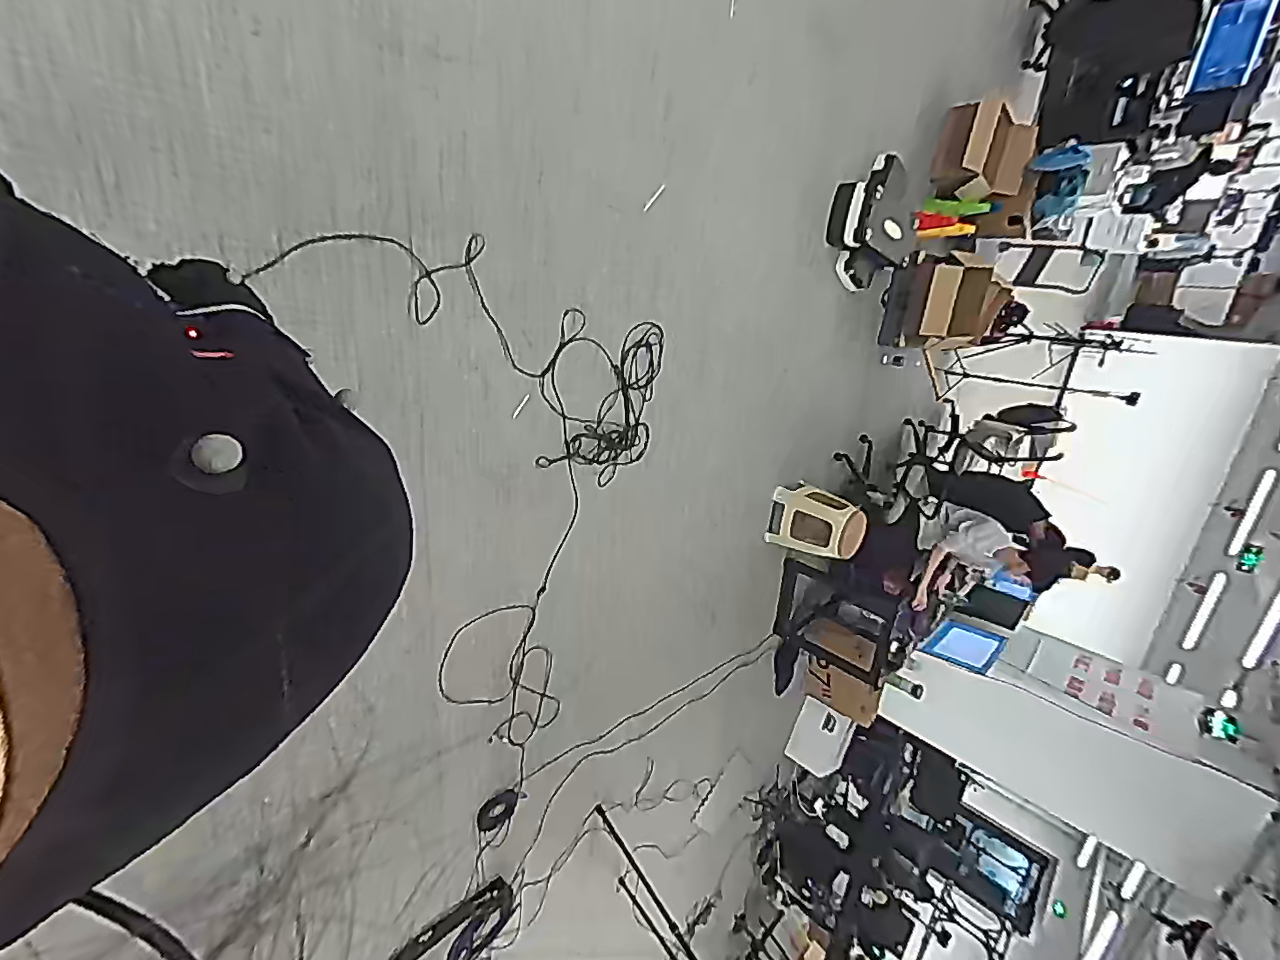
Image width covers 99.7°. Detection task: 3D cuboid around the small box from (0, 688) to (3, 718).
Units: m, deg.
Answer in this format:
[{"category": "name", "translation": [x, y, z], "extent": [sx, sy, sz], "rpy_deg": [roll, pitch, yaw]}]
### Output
[{"category": "small box", "translation": [-1.275, 0.401, 0.957], "extent": [0.168, 0.176, 0.179], "rpy_deg": [-12, 114, -44]}]
